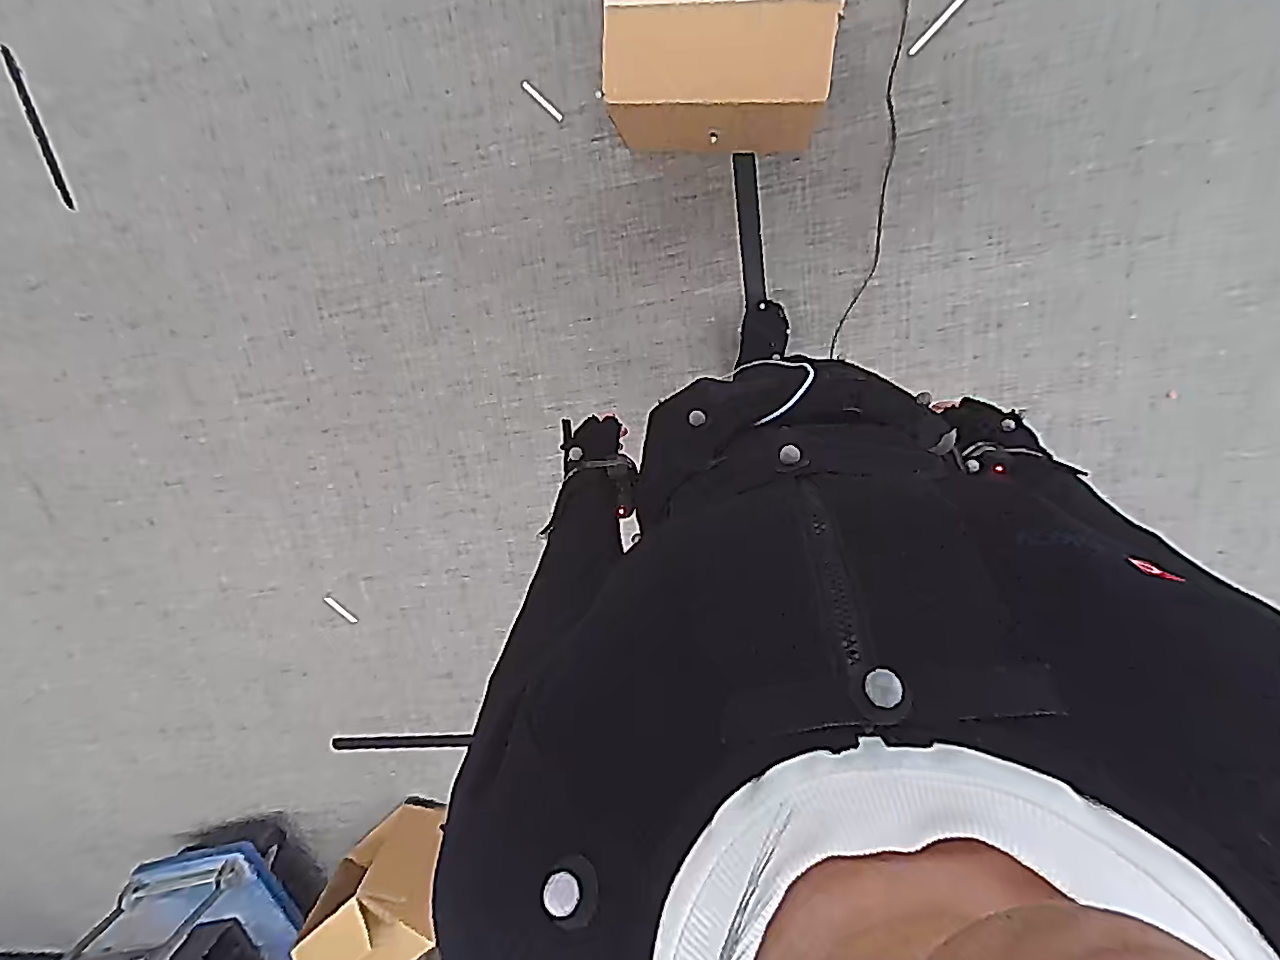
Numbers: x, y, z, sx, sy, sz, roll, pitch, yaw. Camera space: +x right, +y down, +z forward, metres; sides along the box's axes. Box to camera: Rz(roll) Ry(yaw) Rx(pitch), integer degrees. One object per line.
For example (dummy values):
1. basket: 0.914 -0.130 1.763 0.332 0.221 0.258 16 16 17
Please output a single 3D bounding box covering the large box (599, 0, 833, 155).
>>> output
1. large box: 0.152 -0.854 1.066 0.408 0.320 0.320 5 106 8
